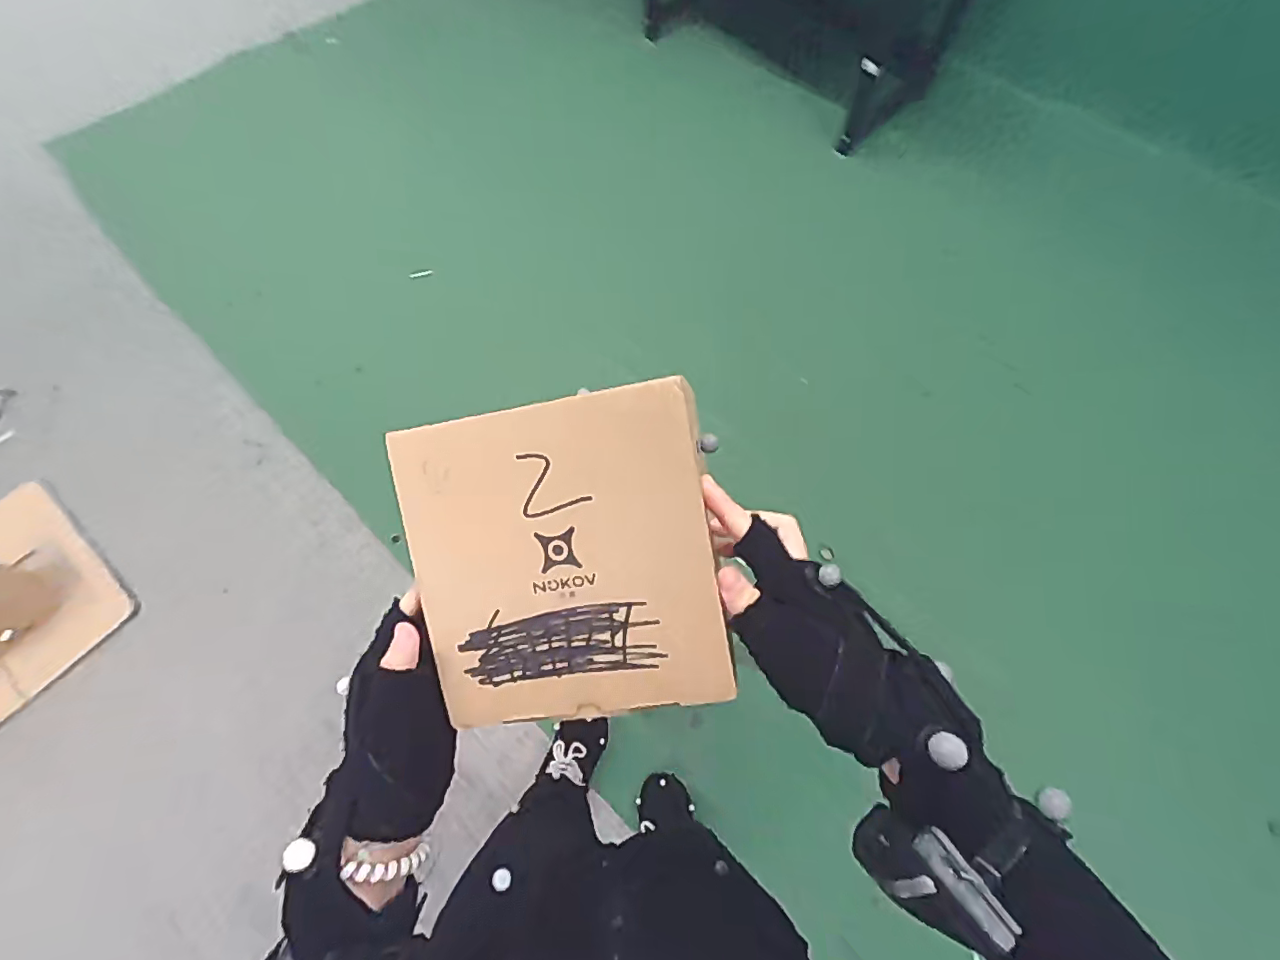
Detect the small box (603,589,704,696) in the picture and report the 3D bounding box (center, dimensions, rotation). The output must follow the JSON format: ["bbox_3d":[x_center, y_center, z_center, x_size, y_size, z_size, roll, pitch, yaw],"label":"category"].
[{"bbox_3d":[0.029,0.397,1.302,0.168,0.176,0.179,-36,70,-15],"label":"small box"}]

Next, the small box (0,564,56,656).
[{"bbox_3d":[-1.649,0.318,1.351,0.179,0.176,0.168,38,72,16],"label":"small box"}]
